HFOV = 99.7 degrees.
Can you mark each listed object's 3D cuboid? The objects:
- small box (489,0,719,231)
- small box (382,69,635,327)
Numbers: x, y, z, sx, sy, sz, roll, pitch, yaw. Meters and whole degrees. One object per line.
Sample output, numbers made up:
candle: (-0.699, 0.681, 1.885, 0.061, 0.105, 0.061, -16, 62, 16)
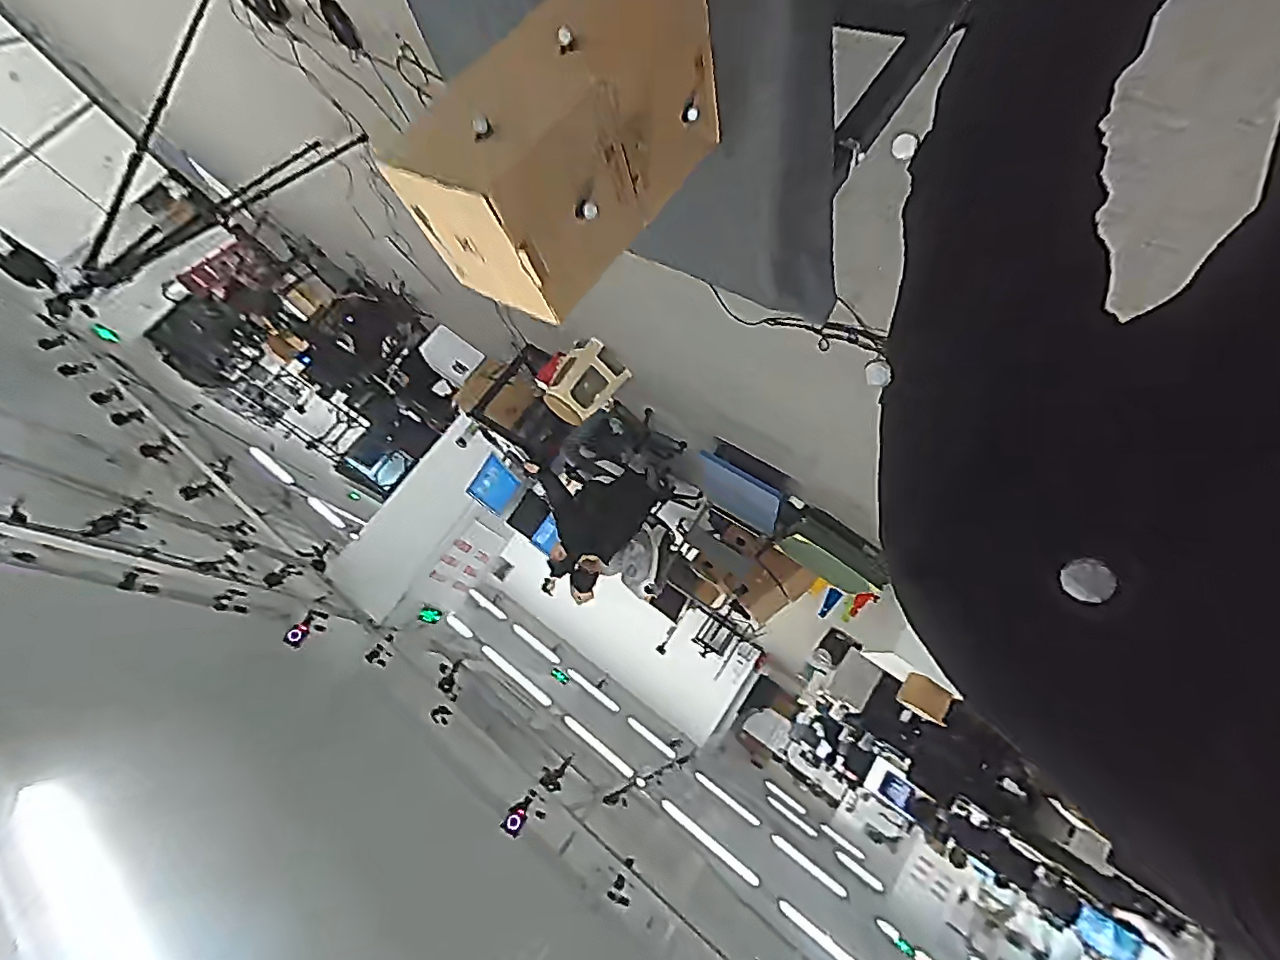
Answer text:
small box: (-0.031, -0.431, 0.625, 0.179, 0.176, 0.168, 30, 165, 25)
small box: (-0.124, -0.303, 0.583, 0.179, 0.176, 0.168, 28, 165, 26)
